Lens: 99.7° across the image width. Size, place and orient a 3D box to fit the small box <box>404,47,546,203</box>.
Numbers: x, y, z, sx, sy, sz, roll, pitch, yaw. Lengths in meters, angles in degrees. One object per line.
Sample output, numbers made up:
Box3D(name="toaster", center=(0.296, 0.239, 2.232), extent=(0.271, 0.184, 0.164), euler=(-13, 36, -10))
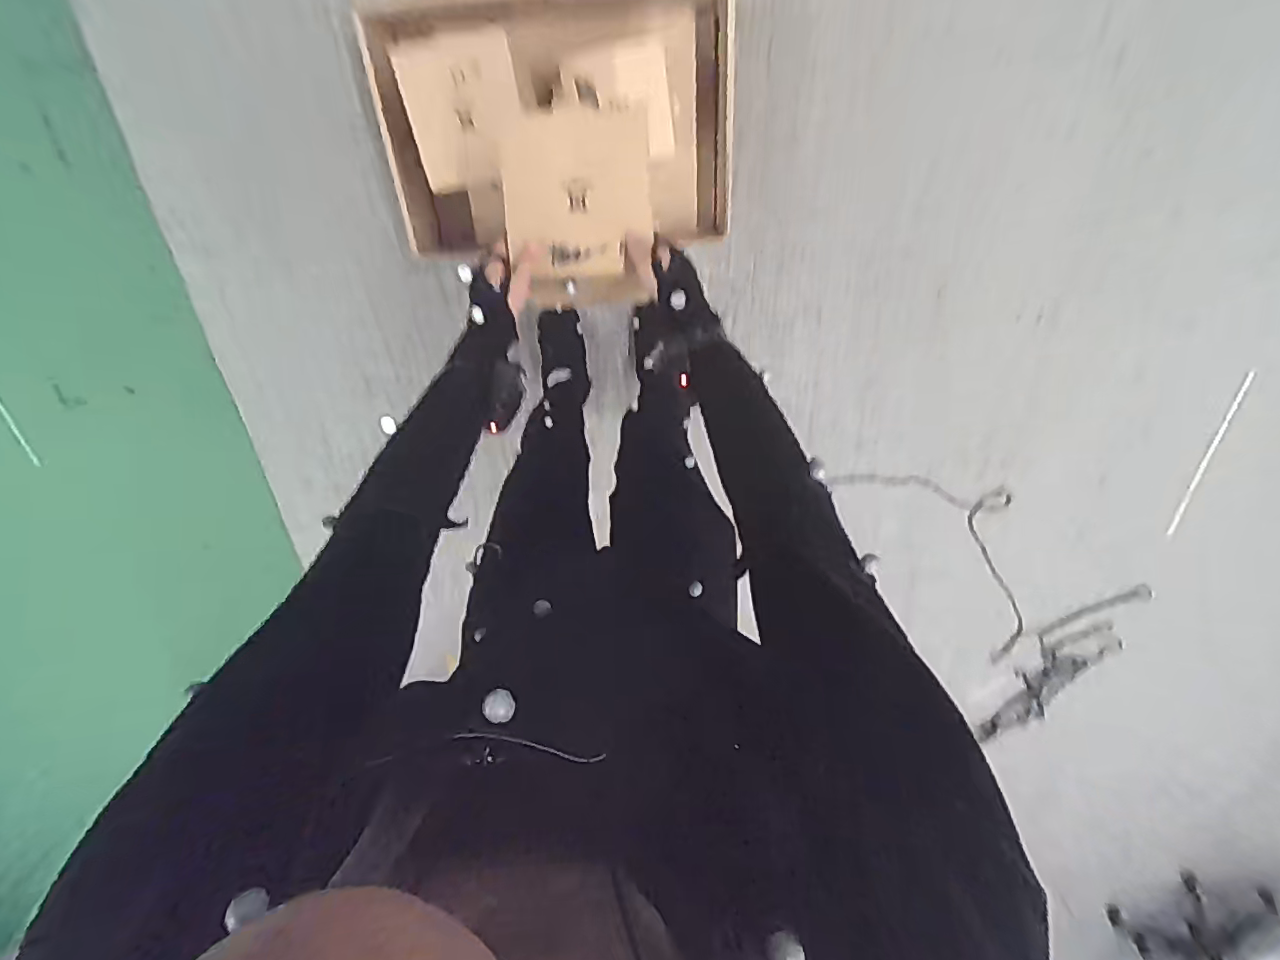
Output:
Box3D(name="small box", center=(-0.240, -0.558, 0.865), extent=(0.168, 0.176, 0.179), euler=(-7, 120, 5))

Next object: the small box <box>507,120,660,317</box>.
Box3D(name="small box", center=(-0.064, -0.316, 0.685), extent=(0.168, 0.176, 0.179), euler=(-3, 96, 0))
